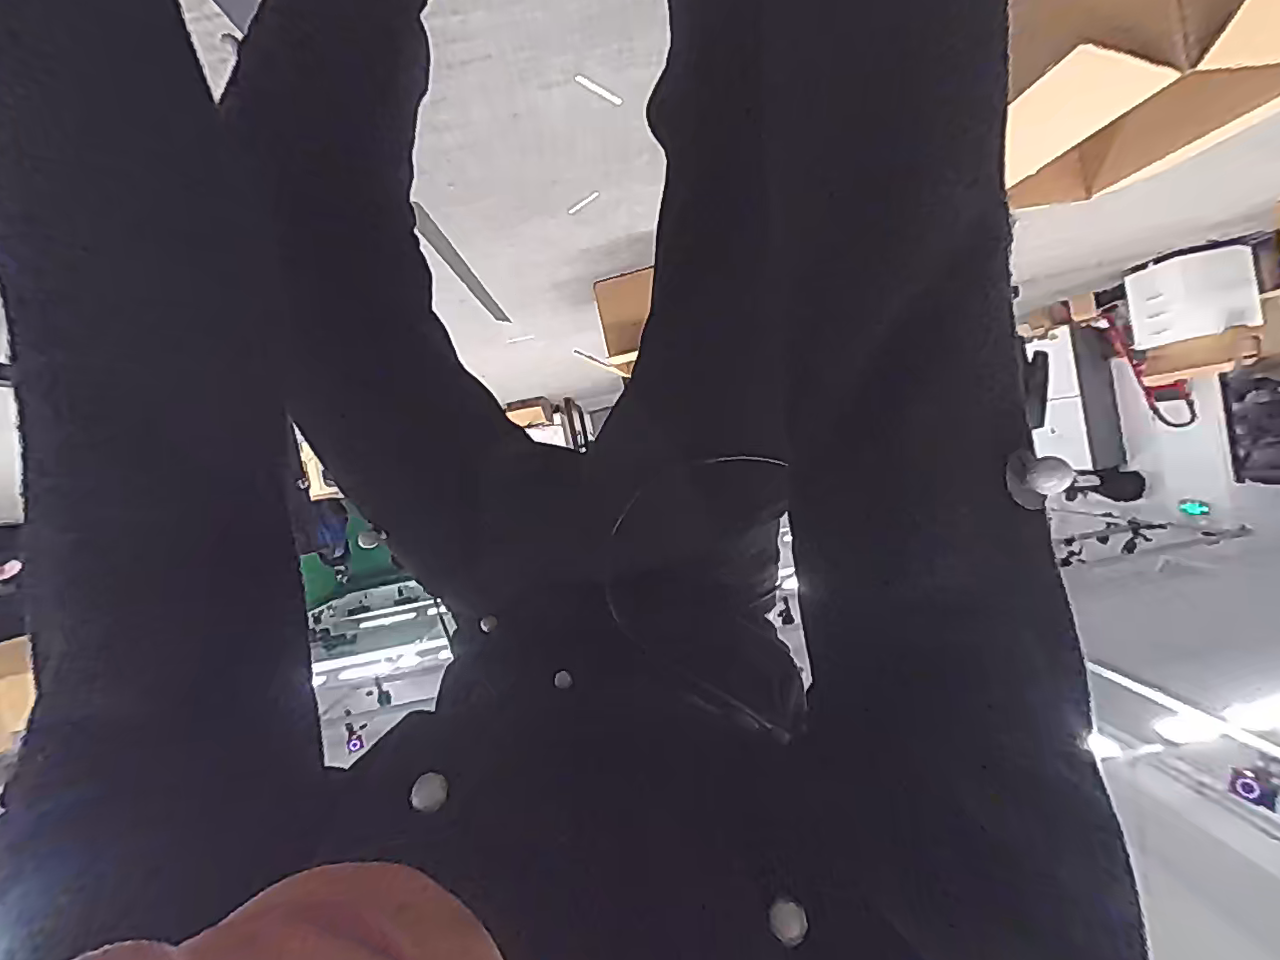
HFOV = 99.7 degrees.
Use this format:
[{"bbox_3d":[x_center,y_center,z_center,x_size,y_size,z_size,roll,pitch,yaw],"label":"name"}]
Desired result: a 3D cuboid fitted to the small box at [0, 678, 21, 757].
[{"bbox_3d":[-1.049,0.352,0.744,0.168,0.176,0.179,-11,-176,-2],"label":"small box"}]
